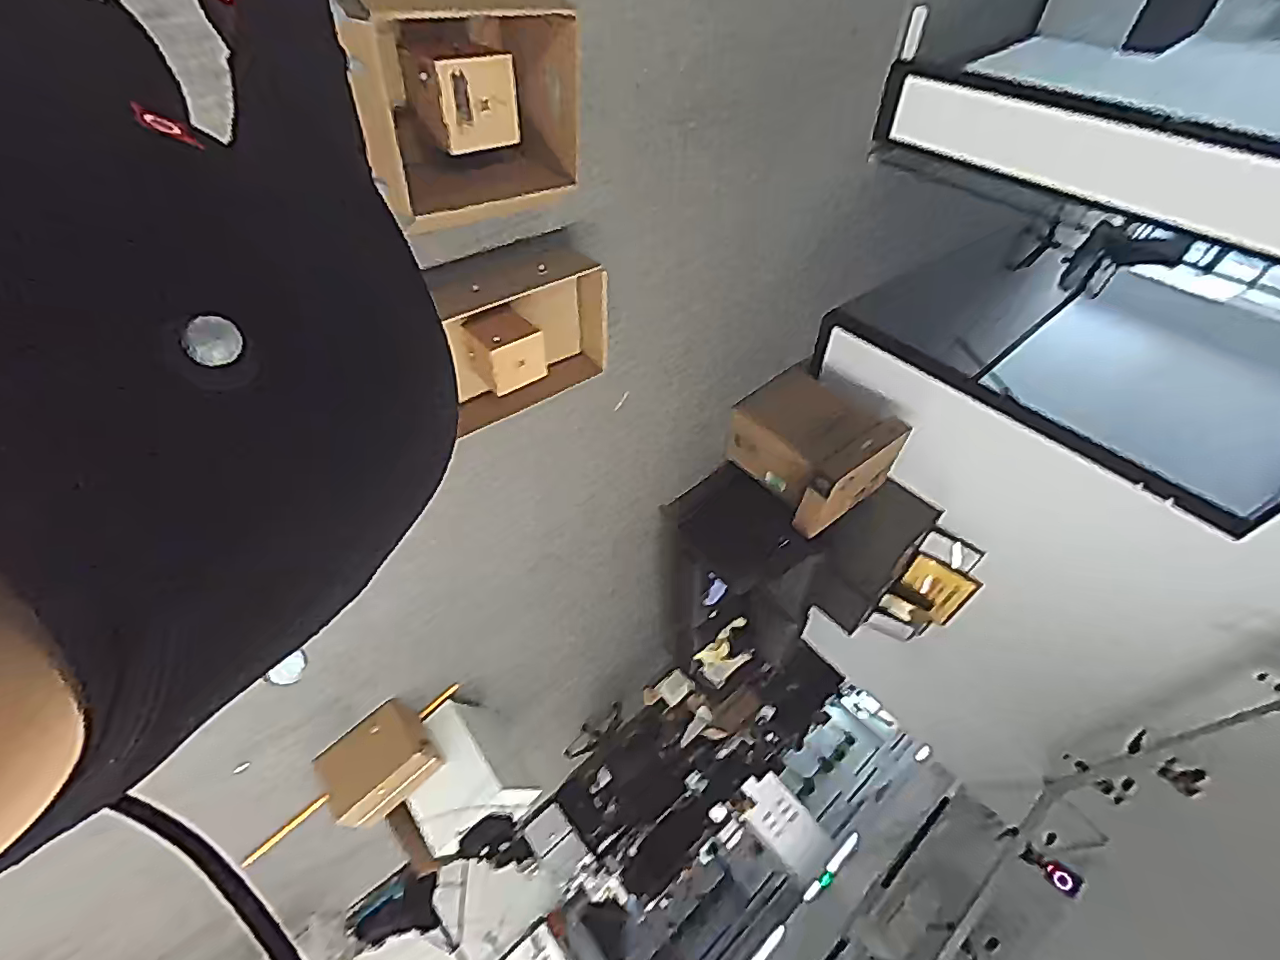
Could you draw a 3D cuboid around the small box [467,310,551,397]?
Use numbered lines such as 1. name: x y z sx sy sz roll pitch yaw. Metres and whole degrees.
1. small box: -0.394 -0.389 1.638 0.179 0.176 0.168 -31 147 -26
